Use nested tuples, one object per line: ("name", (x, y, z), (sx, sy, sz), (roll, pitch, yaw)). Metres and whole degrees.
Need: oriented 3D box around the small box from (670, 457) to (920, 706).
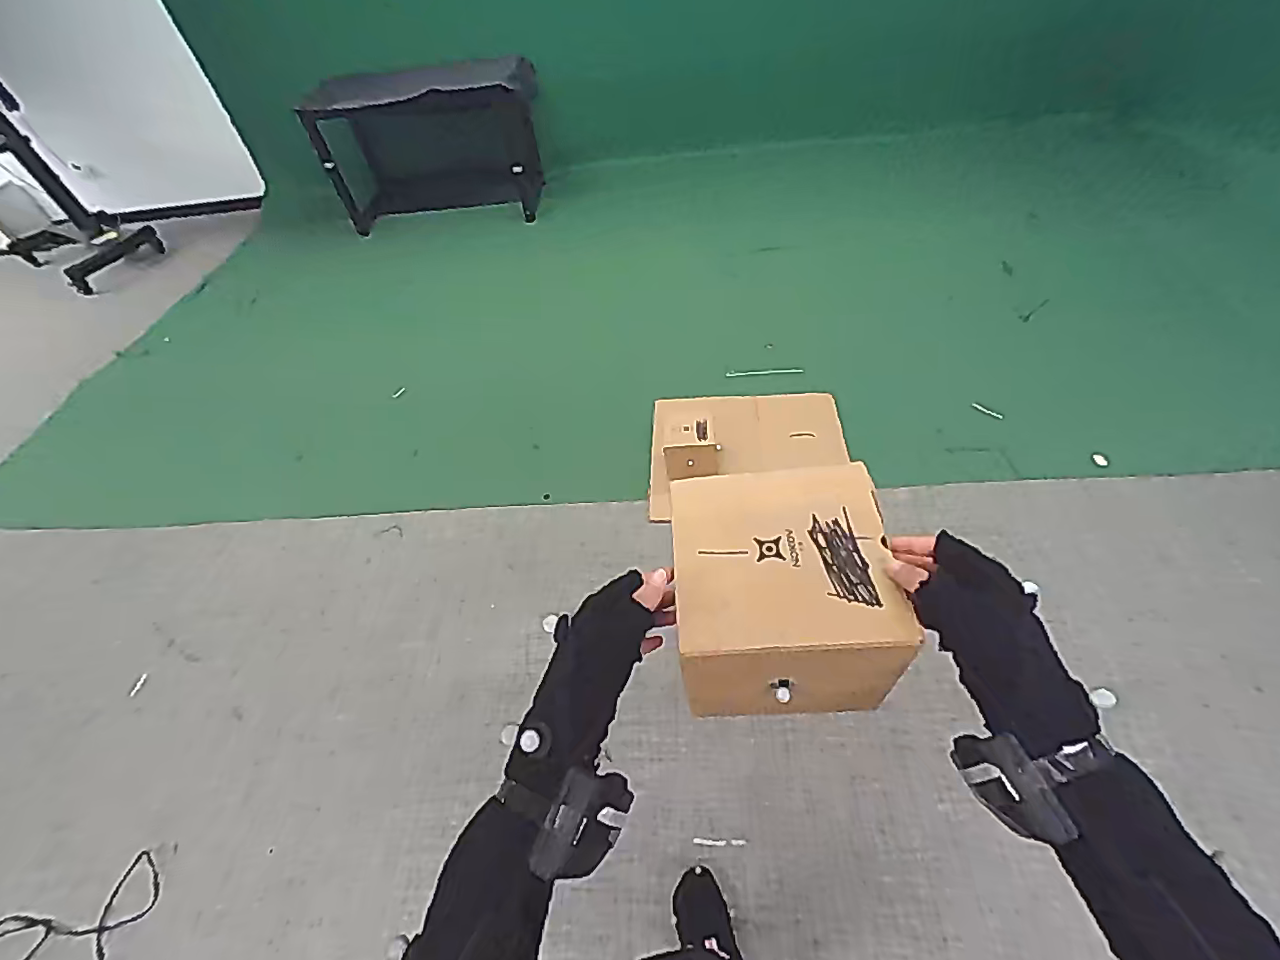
("small box", (0.123, 0.099, 0.499), (0.179, 0.176, 0.168), (-5, 51, 6))
